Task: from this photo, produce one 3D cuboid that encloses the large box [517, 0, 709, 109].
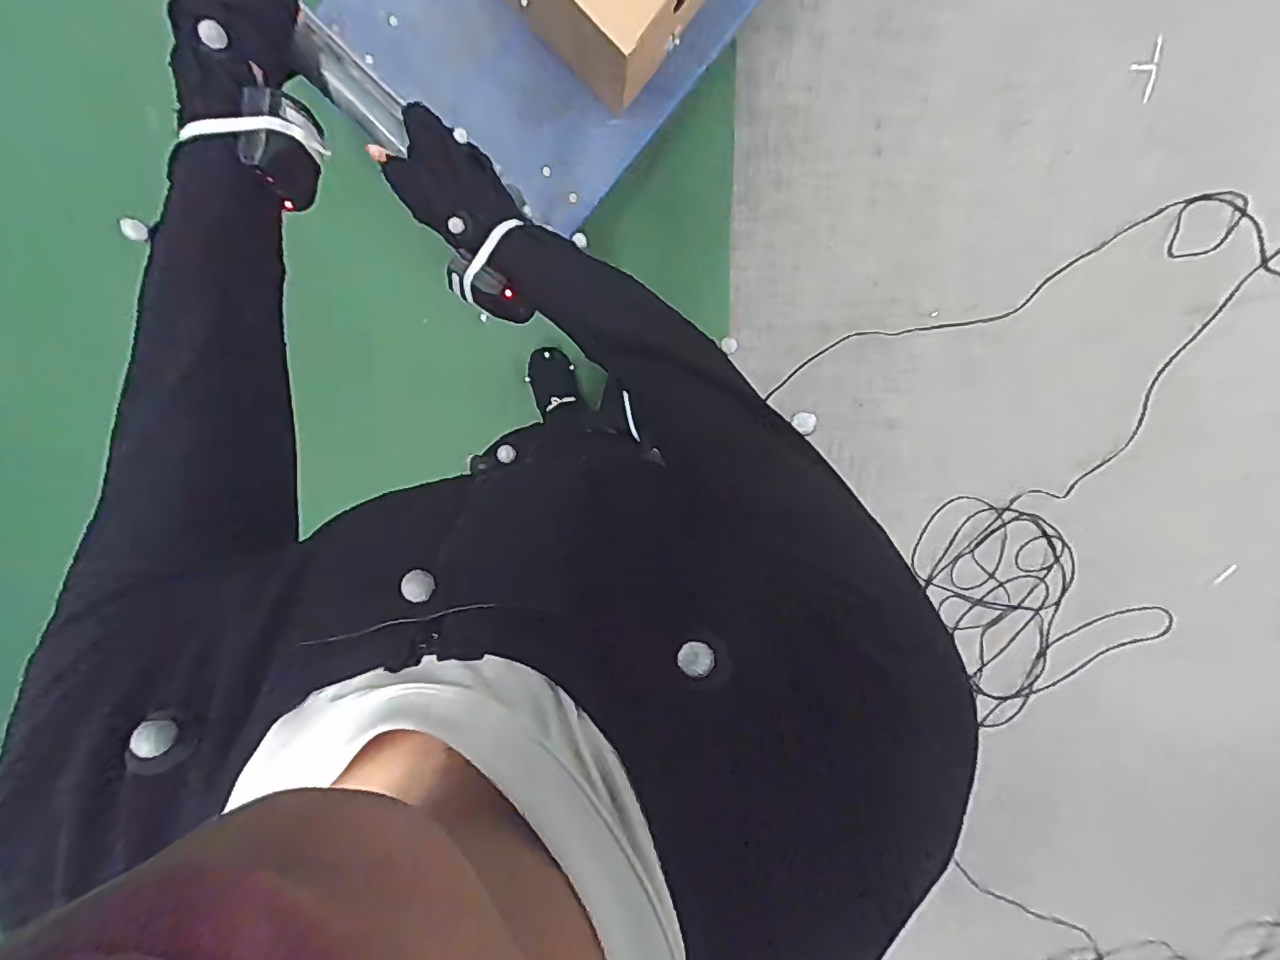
[{"bbox_3d":[-0.068,-0.893,0.837,0.408,0.320,0.320,39,103,-16],"label":"large box"}]
